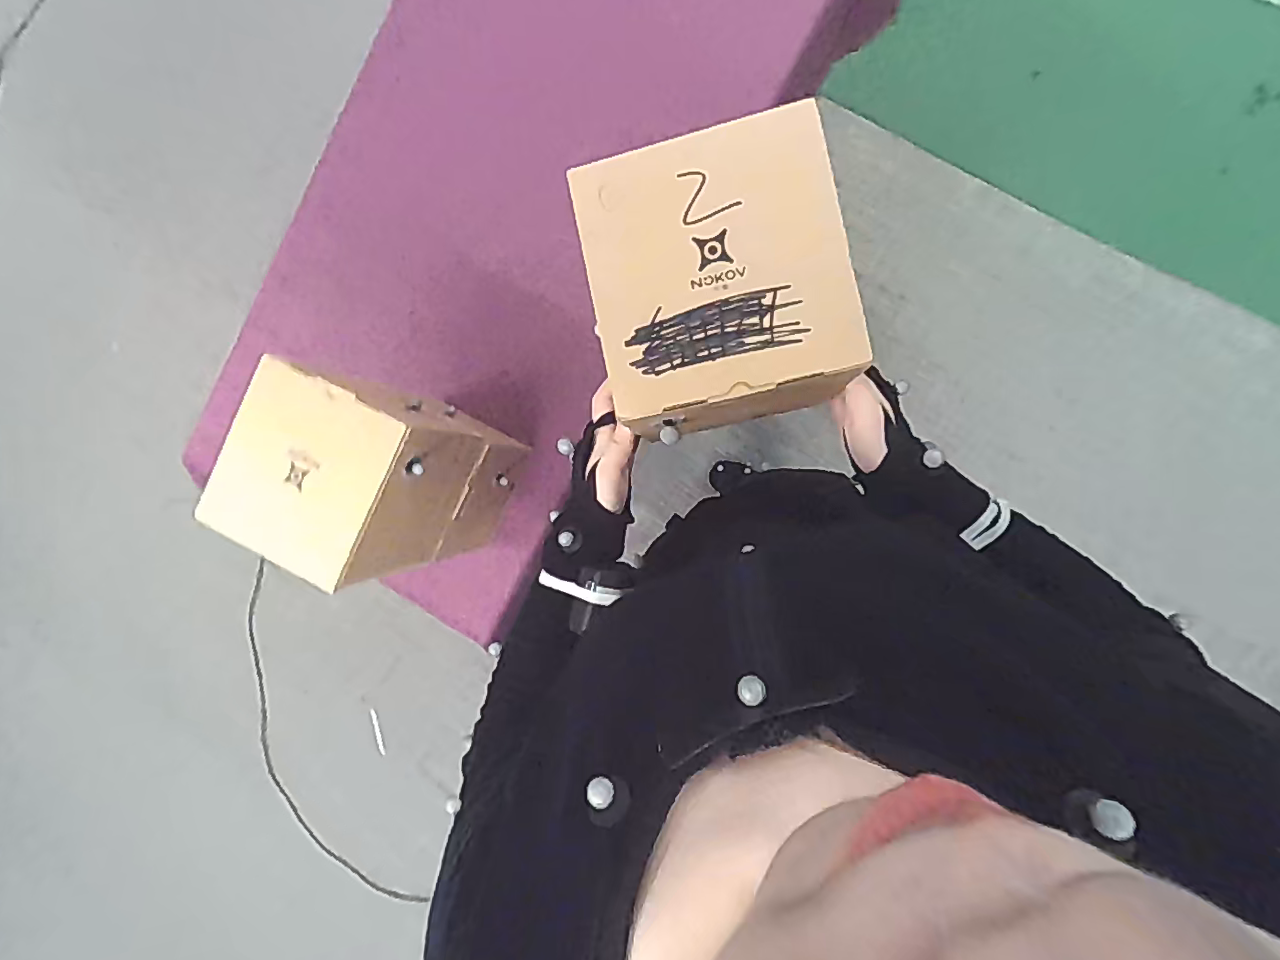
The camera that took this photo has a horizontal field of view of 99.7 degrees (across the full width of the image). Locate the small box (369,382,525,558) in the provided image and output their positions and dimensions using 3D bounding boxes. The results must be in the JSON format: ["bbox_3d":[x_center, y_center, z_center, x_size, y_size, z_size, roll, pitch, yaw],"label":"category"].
[{"bbox_3d":[-0.285,-0.015,0.744,0.179,0.176,0.168,27,94,7],"label":"small box"}]

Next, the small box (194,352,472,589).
[{"bbox_3d":[-0.310,-0.009,0.583,0.168,0.176,0.179,26,93,7],"label":"small box"}]
